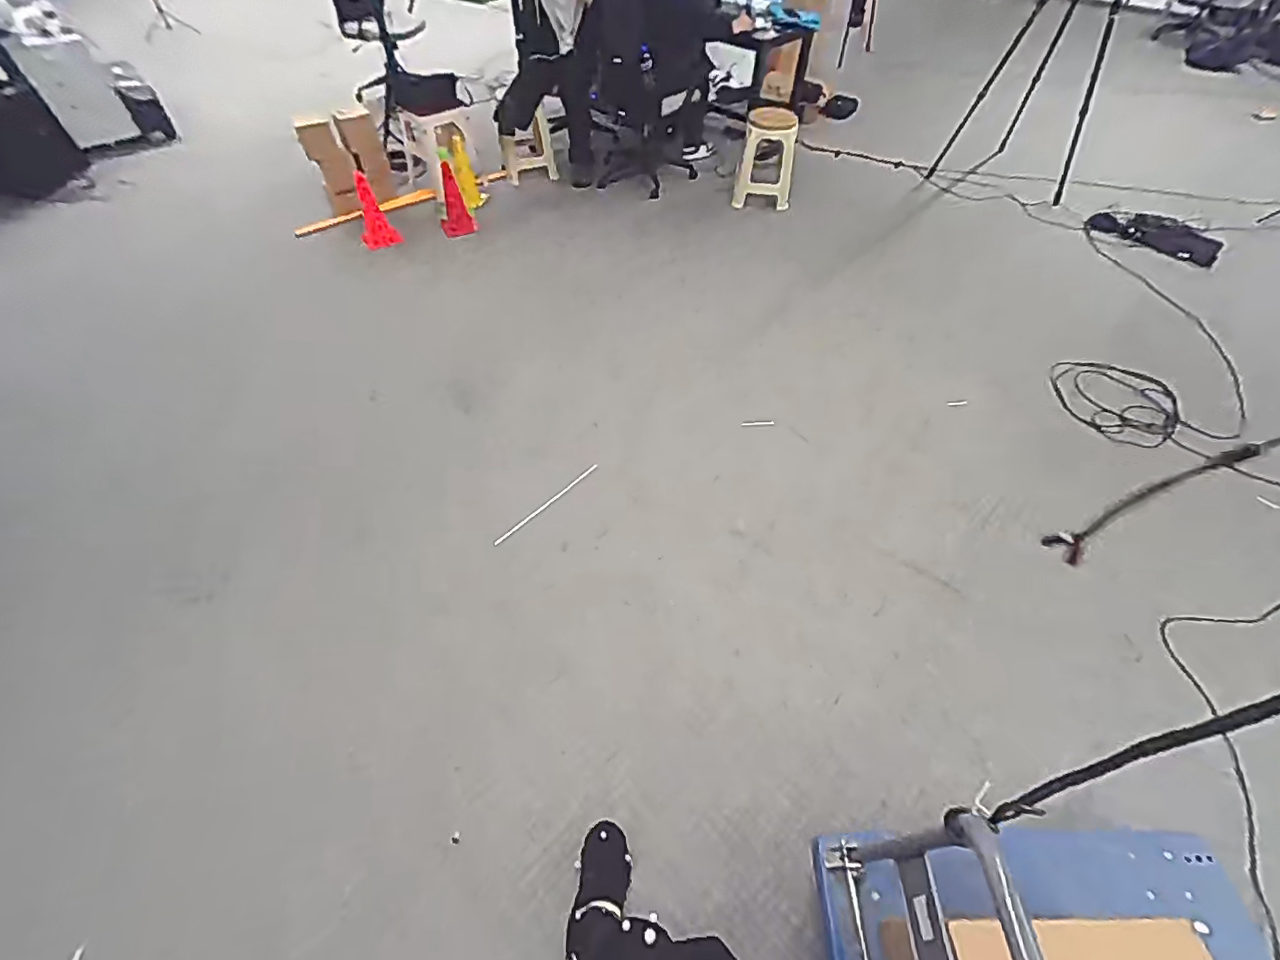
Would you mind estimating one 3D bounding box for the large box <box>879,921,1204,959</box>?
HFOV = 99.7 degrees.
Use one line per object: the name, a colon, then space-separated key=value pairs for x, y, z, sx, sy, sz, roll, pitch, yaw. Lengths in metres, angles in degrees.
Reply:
large box: x=0.678 y=0.926 z=0.883 sx=0.408 sy=0.320 sz=0.320 roll=1 pitch=51 yaw=-1
